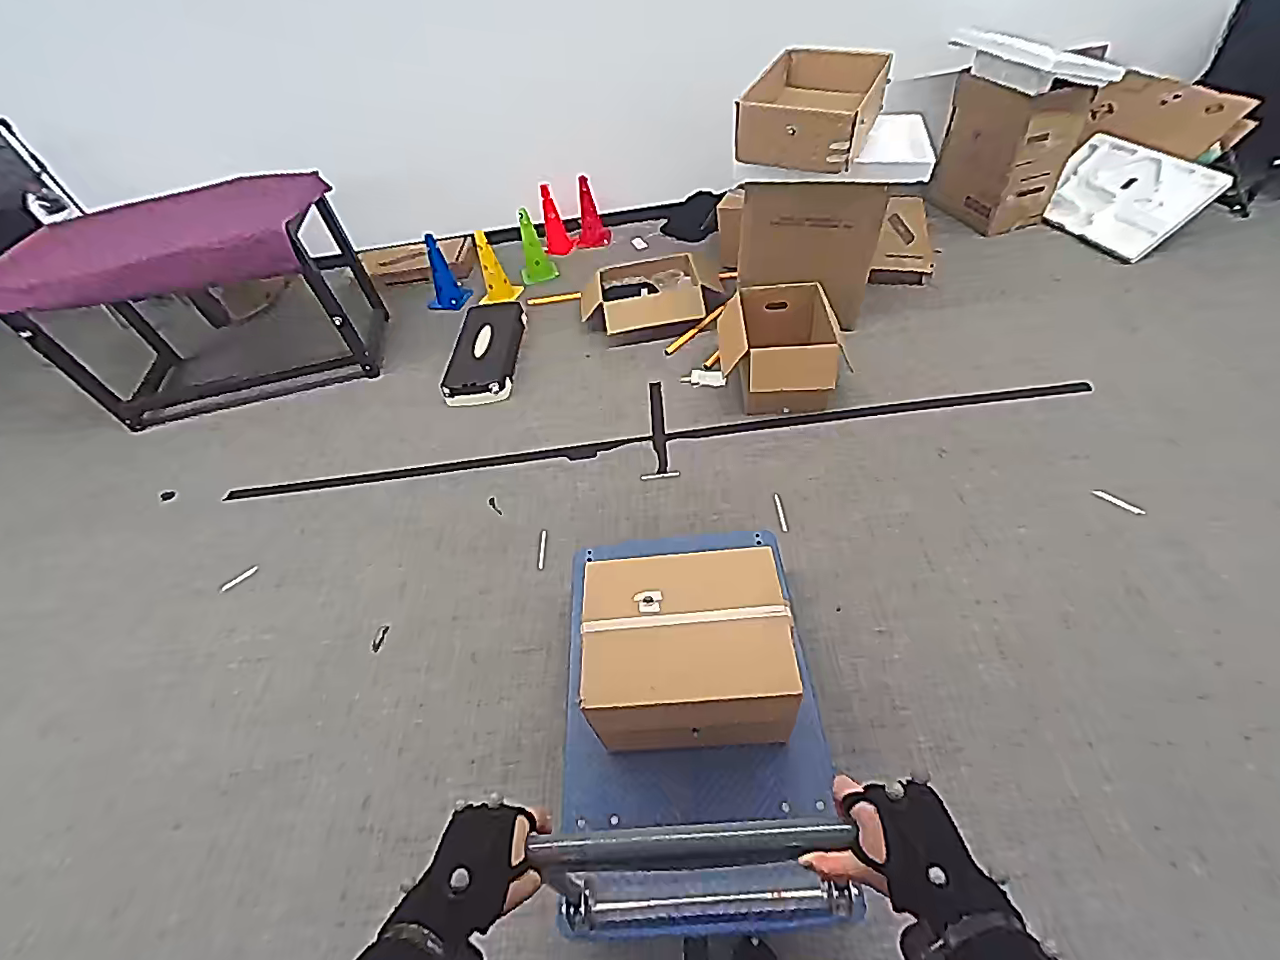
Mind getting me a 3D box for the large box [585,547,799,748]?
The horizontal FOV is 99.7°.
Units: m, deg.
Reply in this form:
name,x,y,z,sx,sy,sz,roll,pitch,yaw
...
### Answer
name,x,y,z,sx,sy,sz,roll,pitch,yaw
large box,0.108,0.381,1.202,0.408,0.320,0.320,-7,49,5
